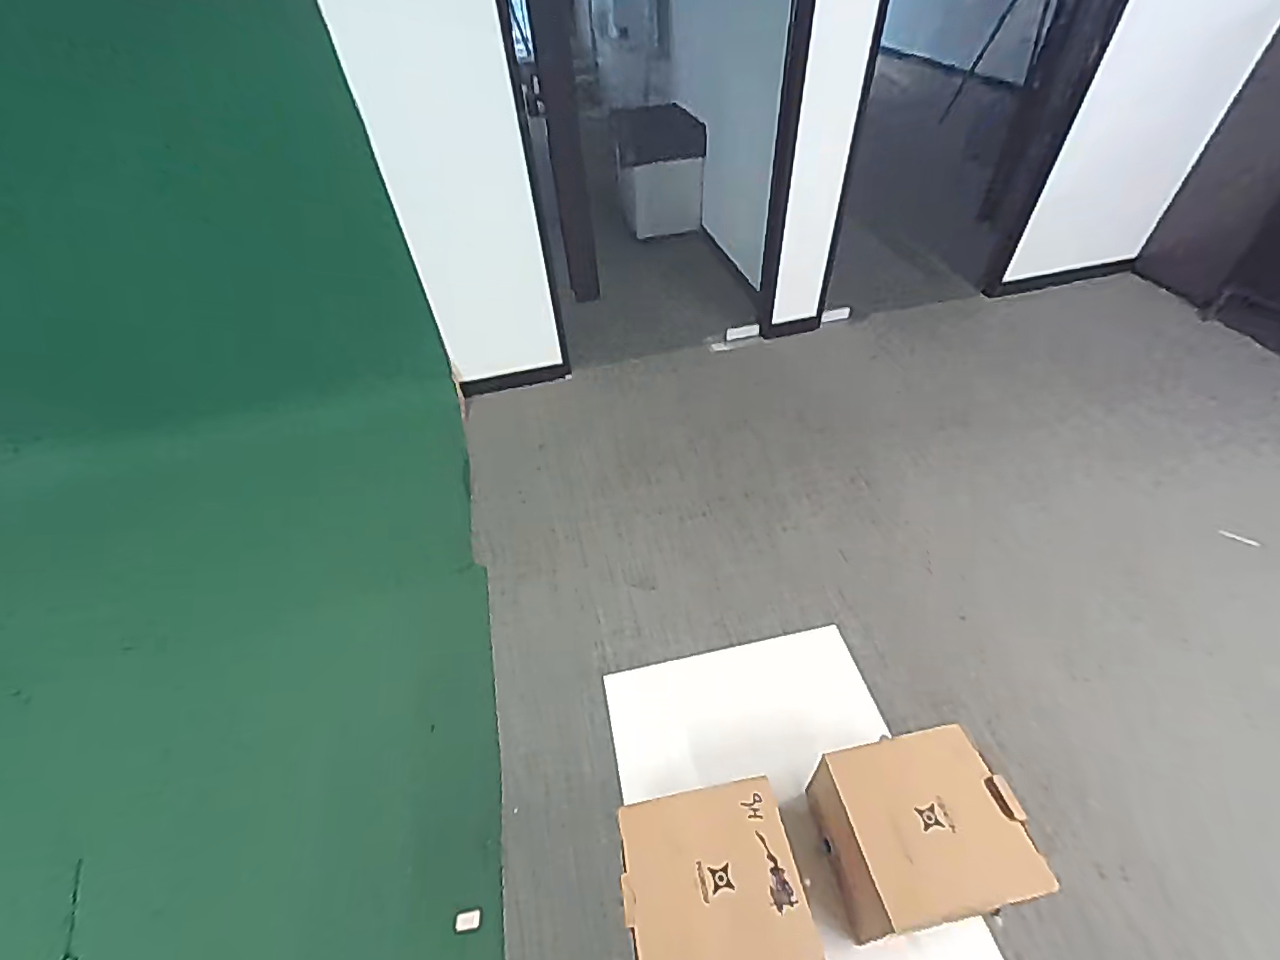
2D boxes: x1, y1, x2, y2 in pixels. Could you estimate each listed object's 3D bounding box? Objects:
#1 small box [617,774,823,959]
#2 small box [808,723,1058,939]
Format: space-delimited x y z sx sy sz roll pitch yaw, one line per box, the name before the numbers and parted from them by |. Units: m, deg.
small box | 0.077 0.456 0.604 0.179 0.176 0.168 -9 47 -6
small box | 0.317 0.410 0.632 0.179 0.176 0.168 -11 46 -4
